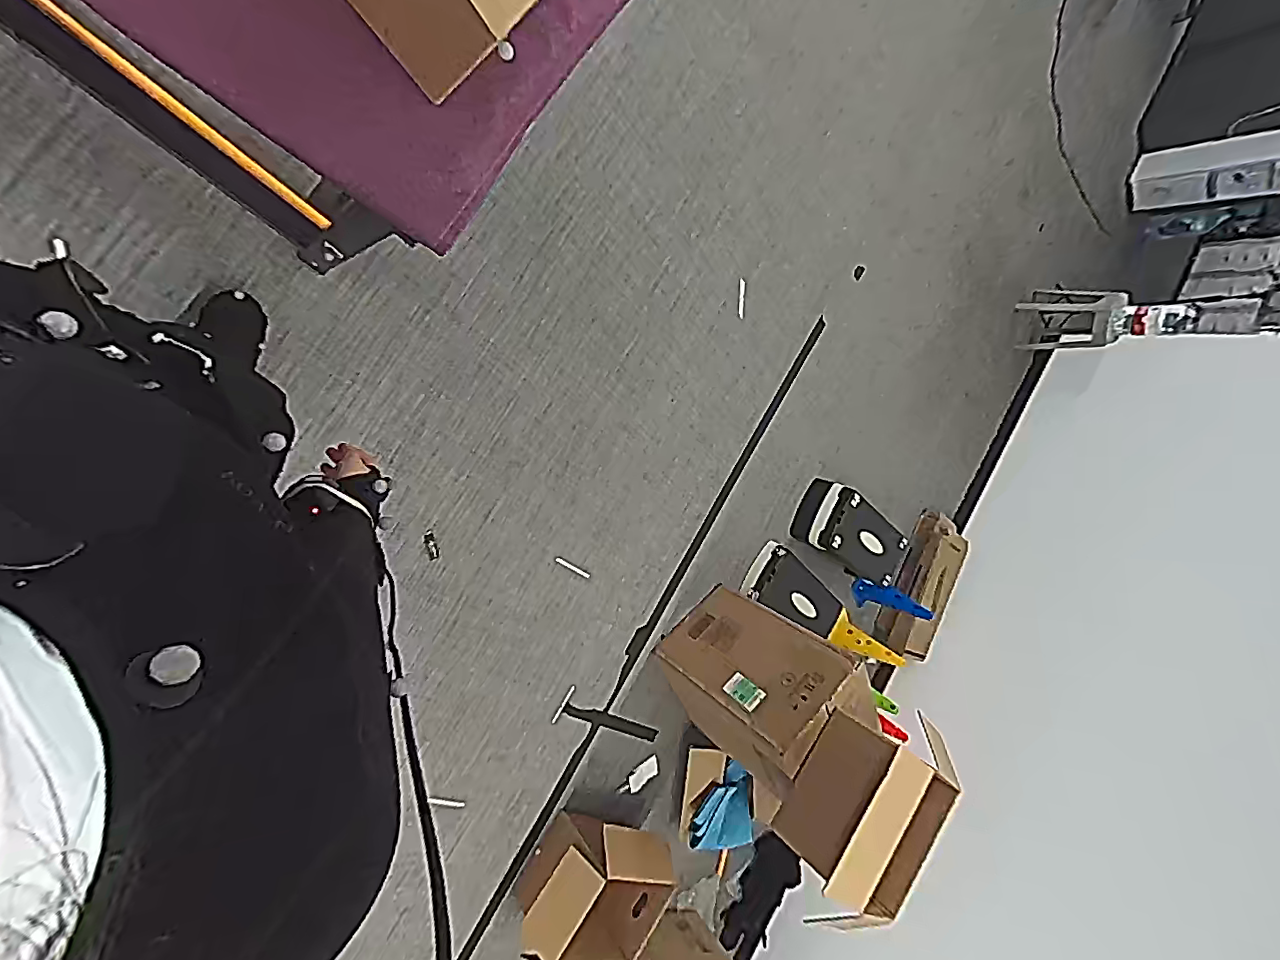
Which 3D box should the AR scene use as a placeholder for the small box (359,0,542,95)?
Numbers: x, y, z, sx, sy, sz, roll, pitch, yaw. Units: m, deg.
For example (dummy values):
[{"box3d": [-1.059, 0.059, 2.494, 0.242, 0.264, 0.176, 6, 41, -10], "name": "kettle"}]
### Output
[{"box3d": [-0.168, -0.488, 0.467, 0.179, 0.176, 0.168, 44, 74, -38], "name": "small box"}]
